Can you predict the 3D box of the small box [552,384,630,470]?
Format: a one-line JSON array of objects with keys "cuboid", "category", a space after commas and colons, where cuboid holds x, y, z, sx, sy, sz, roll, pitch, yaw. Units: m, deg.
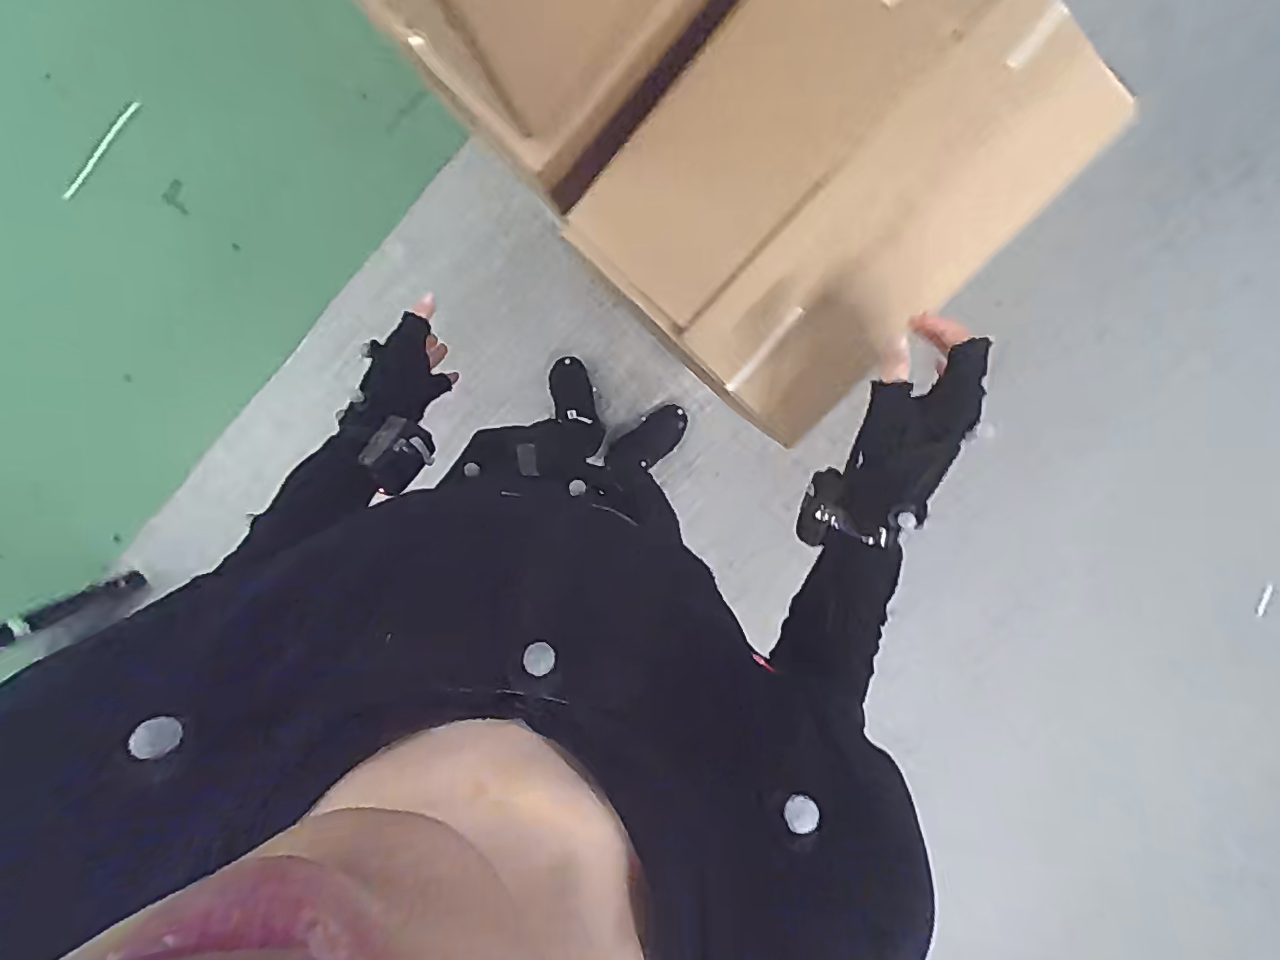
[{"cuboid": [-0.133, -0.139, 1.397, 0.168, 0.176, 0.179, 1, 111, -17], "category": "small box"}]
